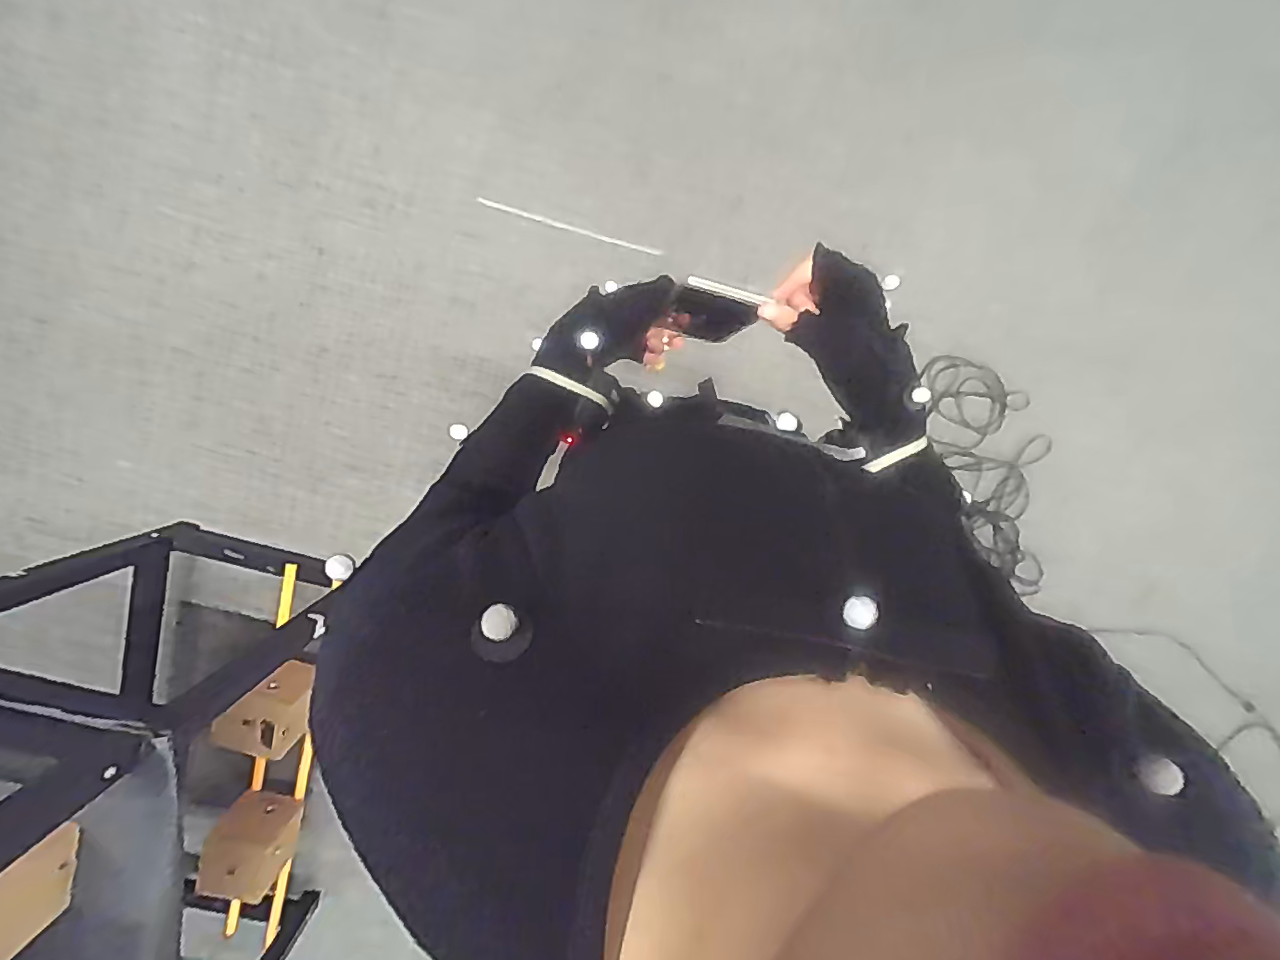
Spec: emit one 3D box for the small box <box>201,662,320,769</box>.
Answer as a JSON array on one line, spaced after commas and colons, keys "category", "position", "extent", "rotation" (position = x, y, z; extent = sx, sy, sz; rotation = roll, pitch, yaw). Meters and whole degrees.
[{"category": "small box", "position": [-0.956, 0.590, 1.377], "extent": [0.179, 0.176, 0.168], "rotation": [18, 99, -4]}]
